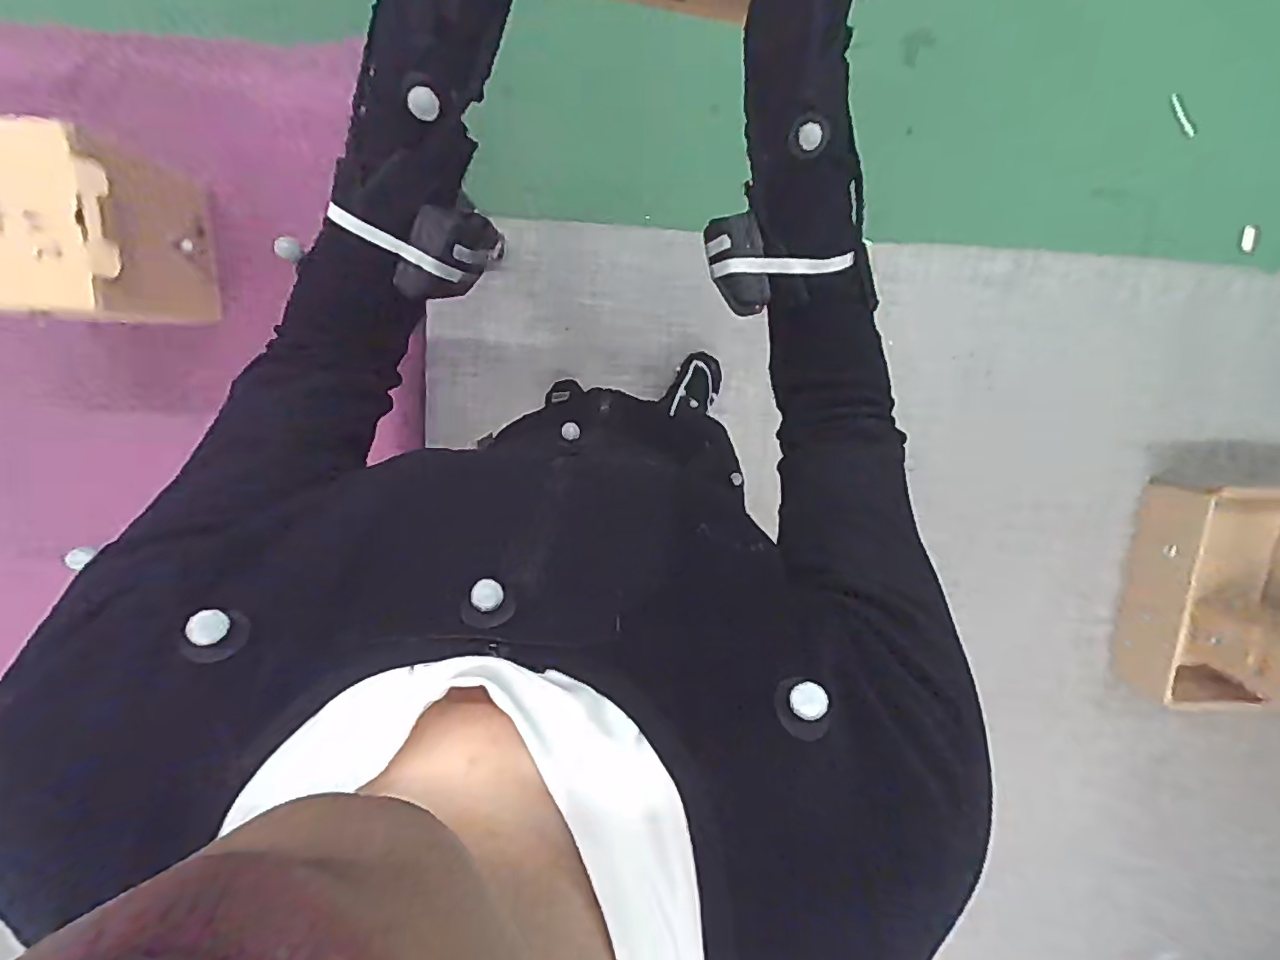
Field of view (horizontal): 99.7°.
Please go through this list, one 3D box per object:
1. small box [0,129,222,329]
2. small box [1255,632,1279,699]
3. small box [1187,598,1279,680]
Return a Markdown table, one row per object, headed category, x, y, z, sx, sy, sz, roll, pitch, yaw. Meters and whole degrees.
| category | x | y | z | sx | sy | sz | roll | pitch | yaw |
| --- | --- | --- | --- | --- | --- | --- | --- | --- | --- |
| small box | -0.605 | -0.255 | 0.583 | 0.179 | 0.176 | 0.168 | 1 | 102 | -3 |
| small box | 1.716 | 0.489 | 1.346 | 0.179 | 0.176 | 0.168 | 1 | 100 | -3 |
| small box | 1.707 | 0.442 | 1.522 | 0.179 | 0.176 | 0.168 | -4 | 99 | -2 |
